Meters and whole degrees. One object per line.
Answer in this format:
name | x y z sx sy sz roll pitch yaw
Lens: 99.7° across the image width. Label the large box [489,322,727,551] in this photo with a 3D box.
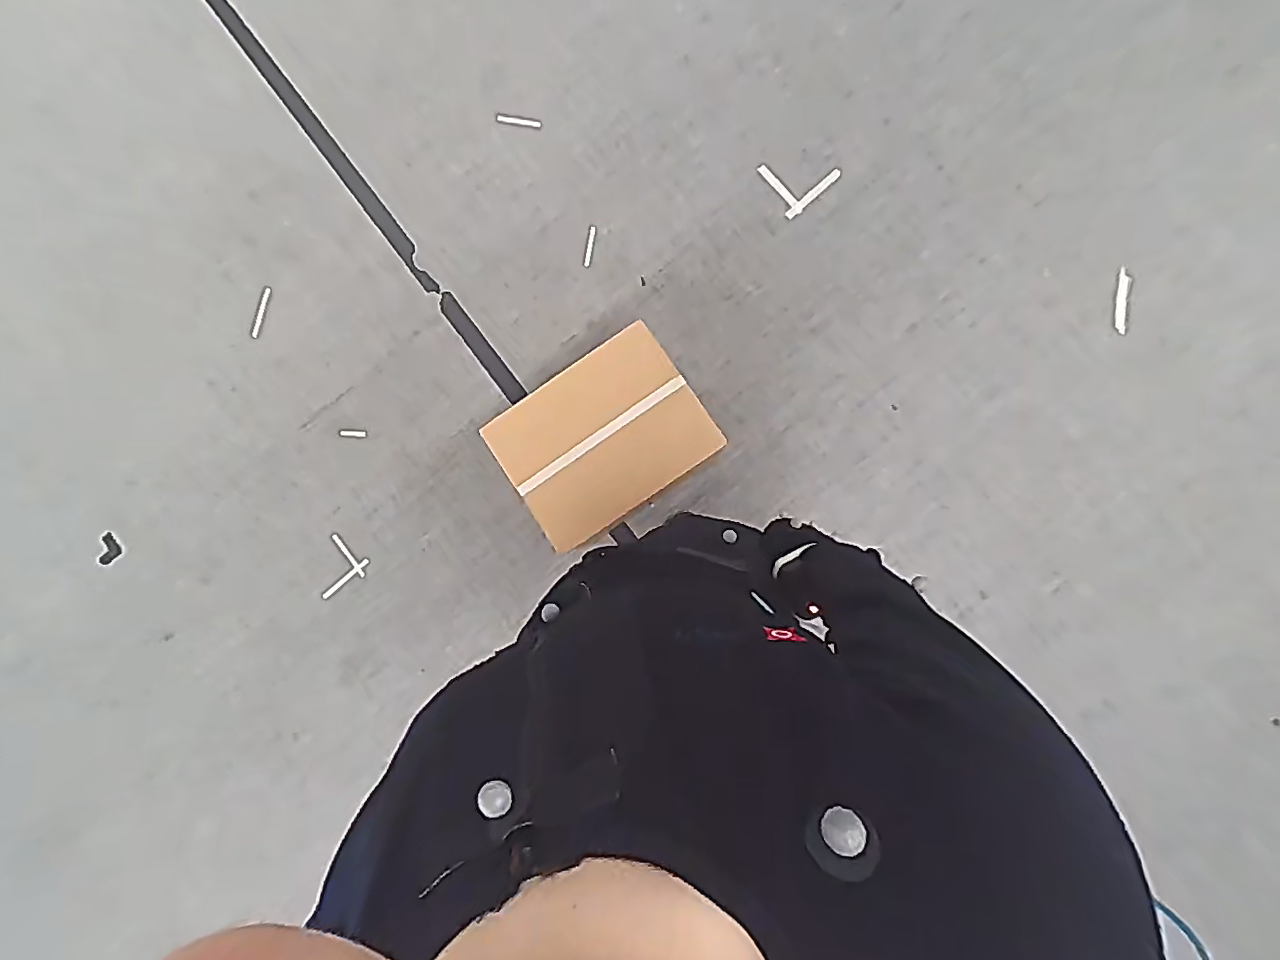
large box | -0.060 -0.080 1.247 0.408 0.320 0.320 -34 86 2
